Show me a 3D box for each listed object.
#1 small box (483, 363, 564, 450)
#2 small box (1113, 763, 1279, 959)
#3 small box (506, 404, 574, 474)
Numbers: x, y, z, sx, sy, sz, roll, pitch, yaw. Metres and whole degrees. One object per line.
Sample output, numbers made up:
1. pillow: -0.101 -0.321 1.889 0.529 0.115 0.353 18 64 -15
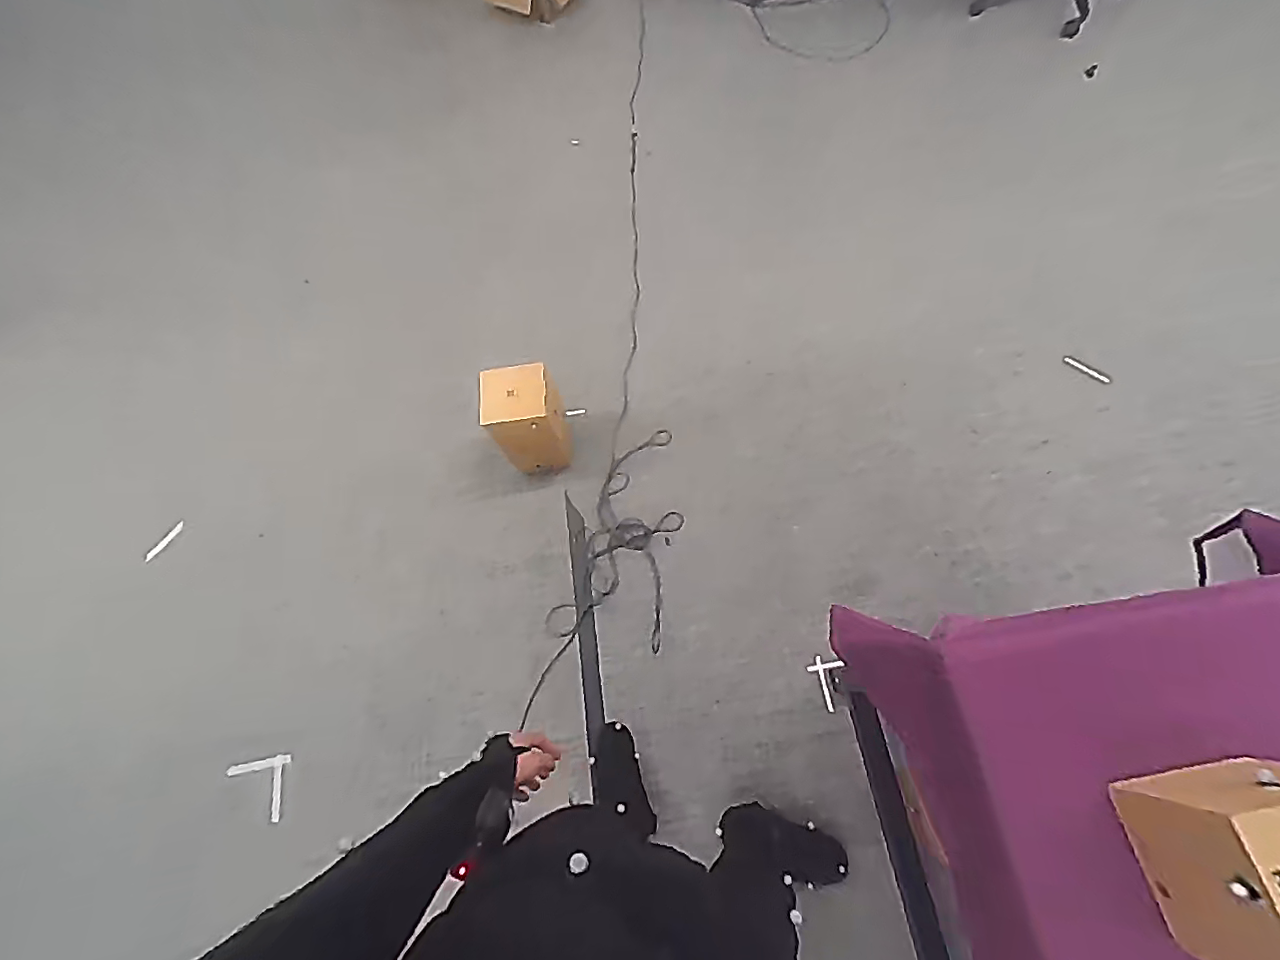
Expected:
1. small box: -0.316 -0.195 1.482 0.179 0.176 0.168 -8 68 3
2. small box: 0.660 0.403 0.553 0.179 0.176 0.168 -11 68 1
3. small box: -0.301 -0.138 1.634 0.168 0.176 0.179 -9 69 3
